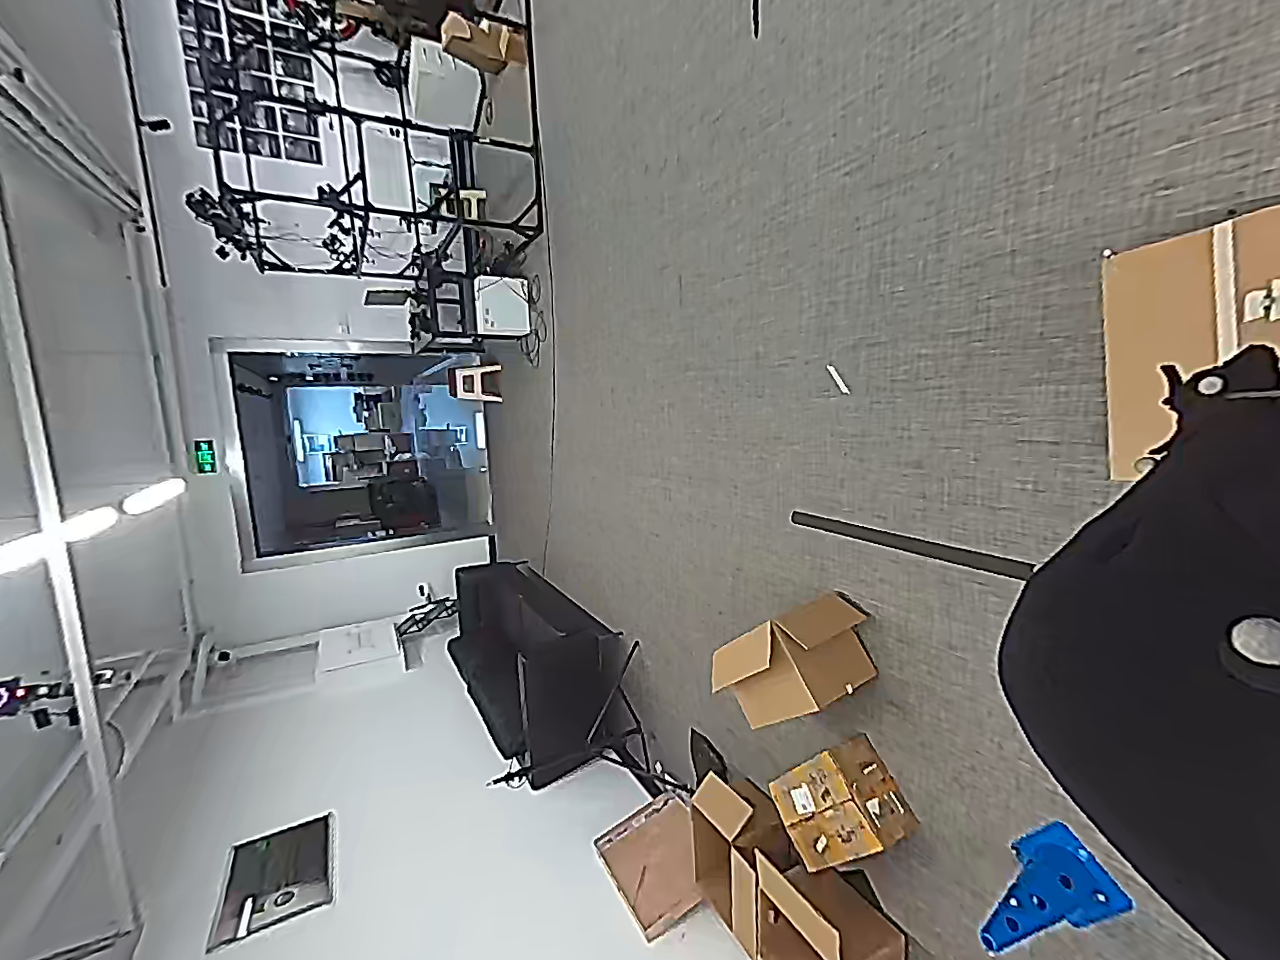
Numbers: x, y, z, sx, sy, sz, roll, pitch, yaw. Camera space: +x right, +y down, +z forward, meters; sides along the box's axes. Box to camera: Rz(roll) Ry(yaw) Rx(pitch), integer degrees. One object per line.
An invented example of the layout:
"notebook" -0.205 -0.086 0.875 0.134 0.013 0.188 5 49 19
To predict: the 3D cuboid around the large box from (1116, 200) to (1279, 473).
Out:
"large box" 1.063 -0.222 0.898 0.320 0.320 0.408 1 95 62
